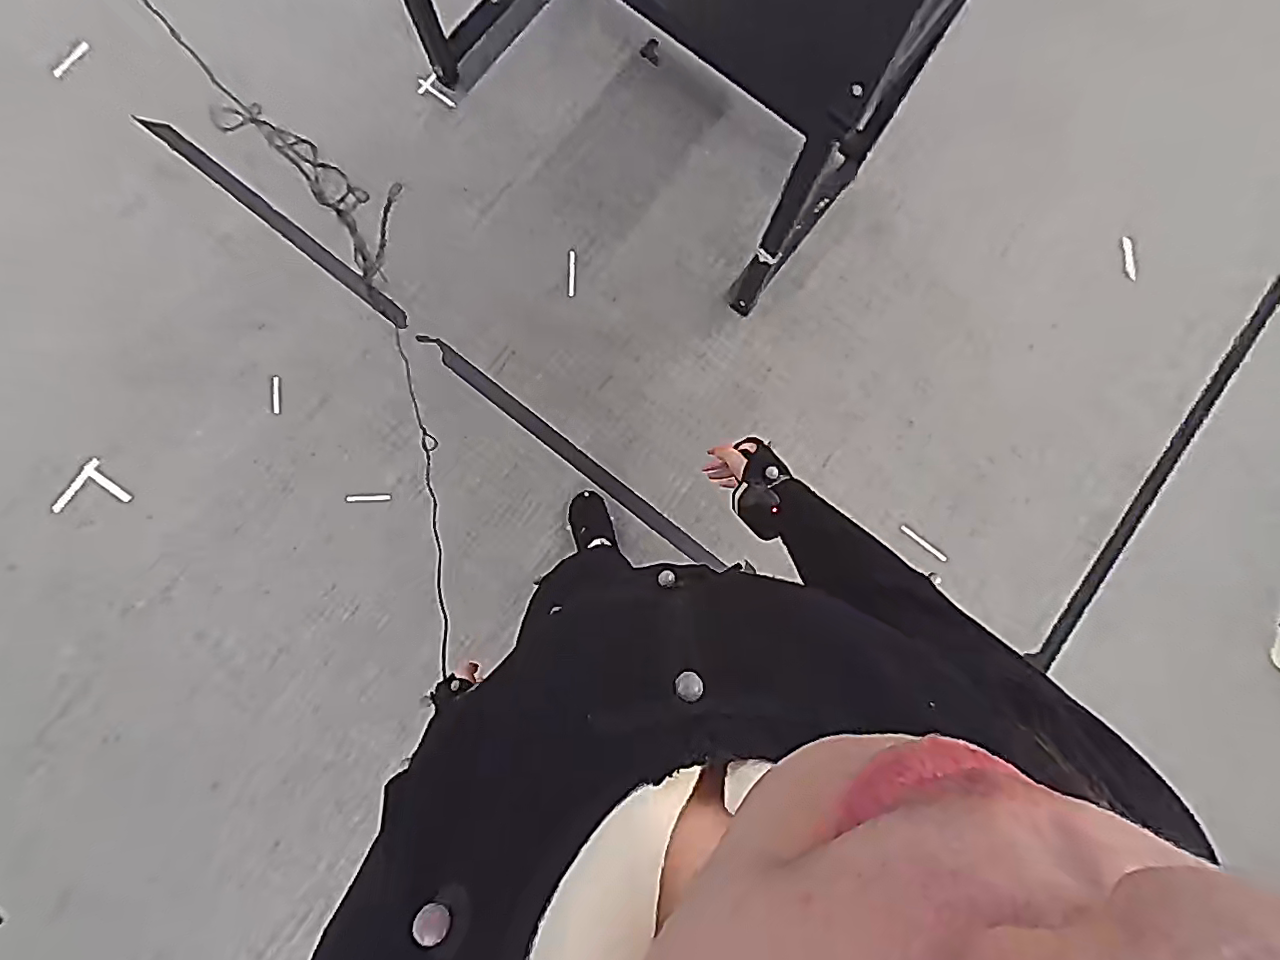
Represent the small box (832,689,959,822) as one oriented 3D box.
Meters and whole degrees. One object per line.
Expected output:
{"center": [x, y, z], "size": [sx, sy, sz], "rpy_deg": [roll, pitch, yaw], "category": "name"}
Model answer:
{"center": [0.559, 0.606, 1.215], "size": [0.168, 0.176, 0.179], "rpy_deg": [36, 84, 2], "category": "small box"}
